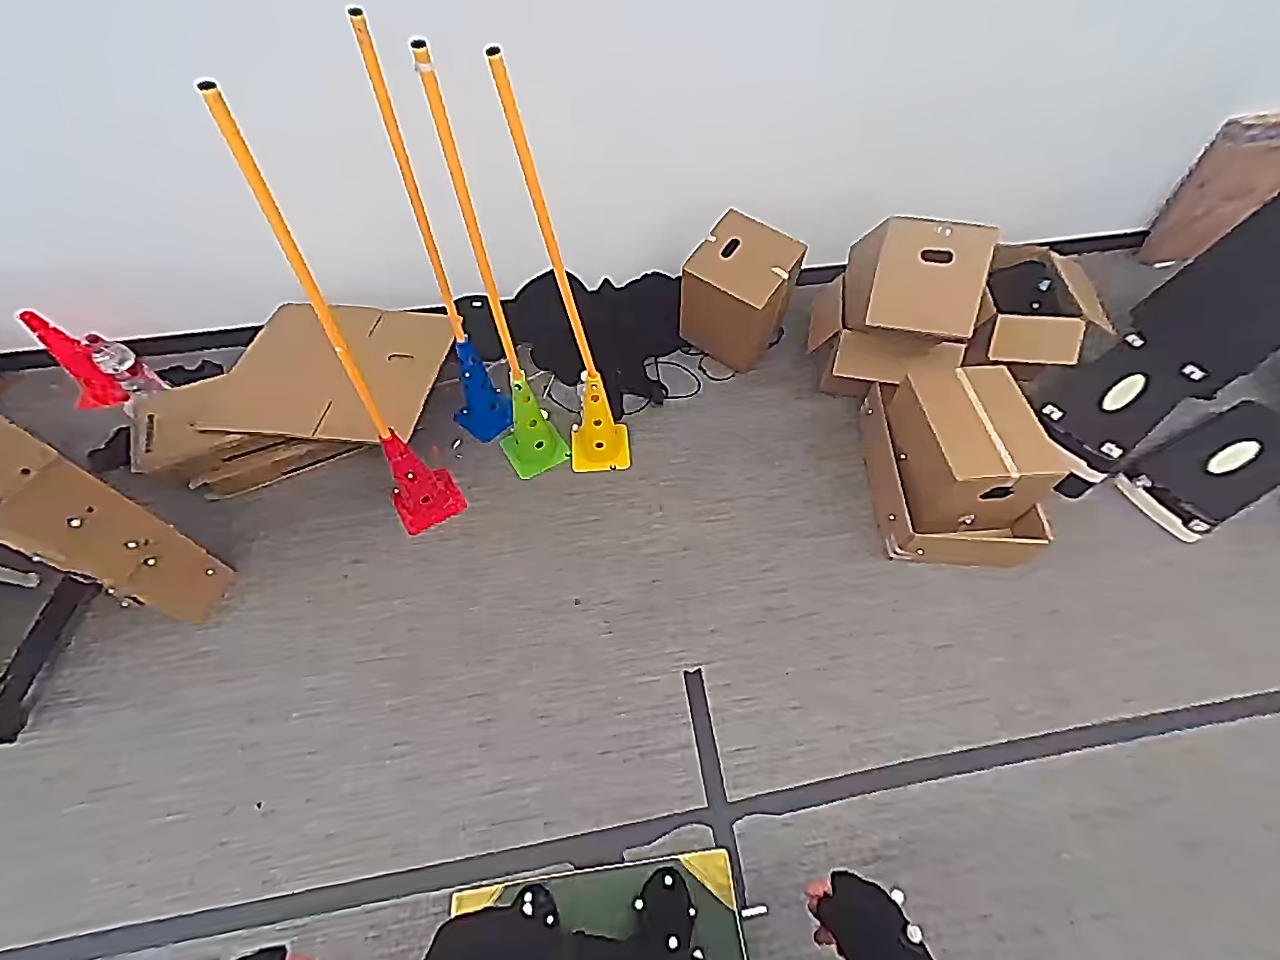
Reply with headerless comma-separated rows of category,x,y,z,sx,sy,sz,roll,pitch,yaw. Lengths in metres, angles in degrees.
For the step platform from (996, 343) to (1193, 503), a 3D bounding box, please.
step platform,1.594,-0.215,1.894,0.684,0.204,0.286,-33,63,-19
